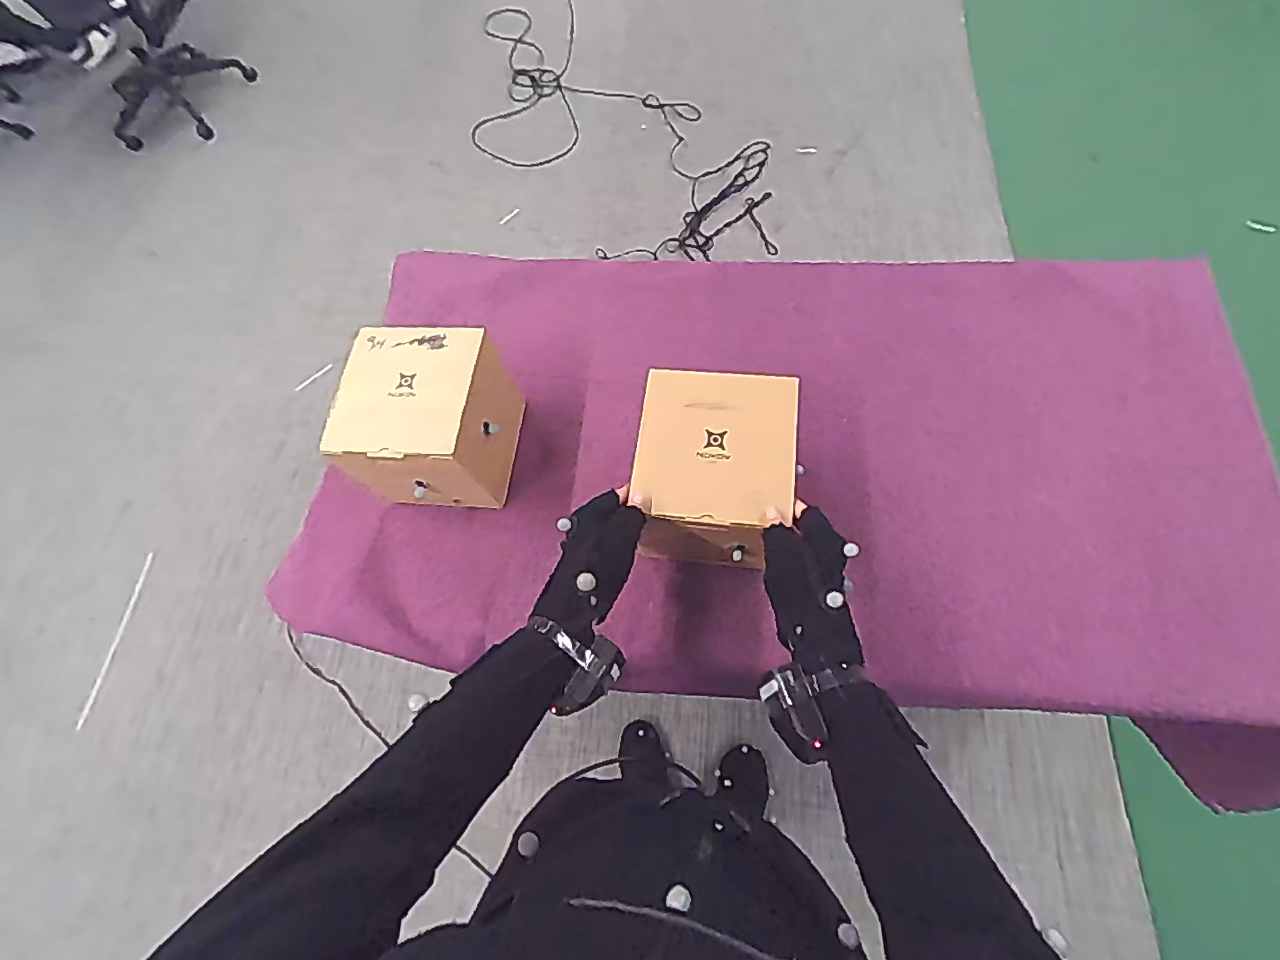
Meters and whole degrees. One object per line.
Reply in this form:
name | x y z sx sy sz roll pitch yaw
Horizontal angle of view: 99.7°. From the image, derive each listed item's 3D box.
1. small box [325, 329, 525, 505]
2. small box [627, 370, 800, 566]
small box | -0.263 -0.074 0.707 0.168 0.176 0.179 3 68 8
small box | 0.089 -0.006 0.637 0.168 0.176 0.179 6 68 9
